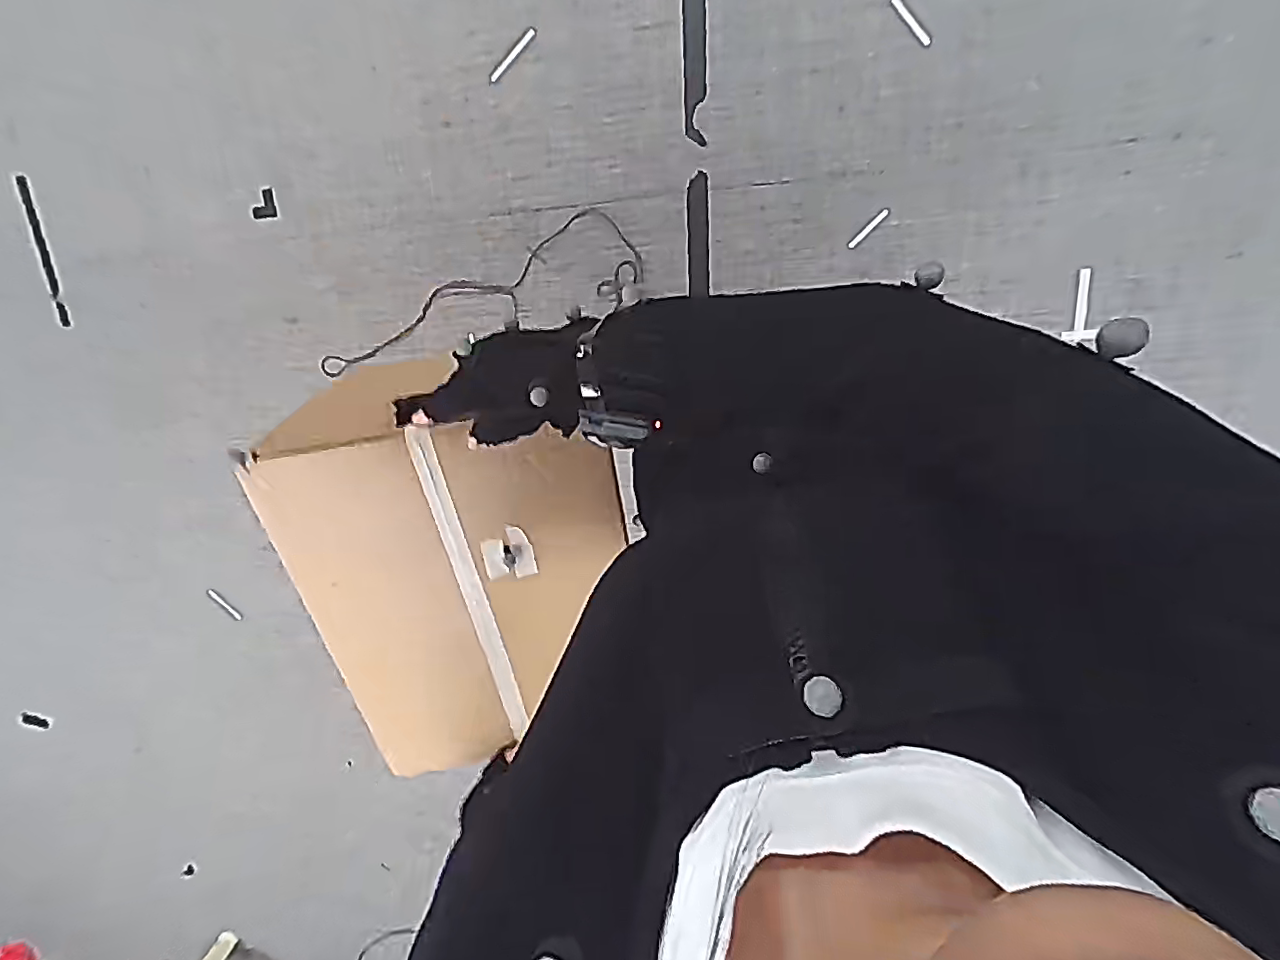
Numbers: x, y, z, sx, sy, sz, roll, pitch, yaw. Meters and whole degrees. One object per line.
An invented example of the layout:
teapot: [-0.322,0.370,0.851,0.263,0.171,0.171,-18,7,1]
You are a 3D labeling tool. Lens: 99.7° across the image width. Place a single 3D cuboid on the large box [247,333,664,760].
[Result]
large box: [-0.173,0.062,0.687,0.320,0.320,0.408,-12,114,-3]
